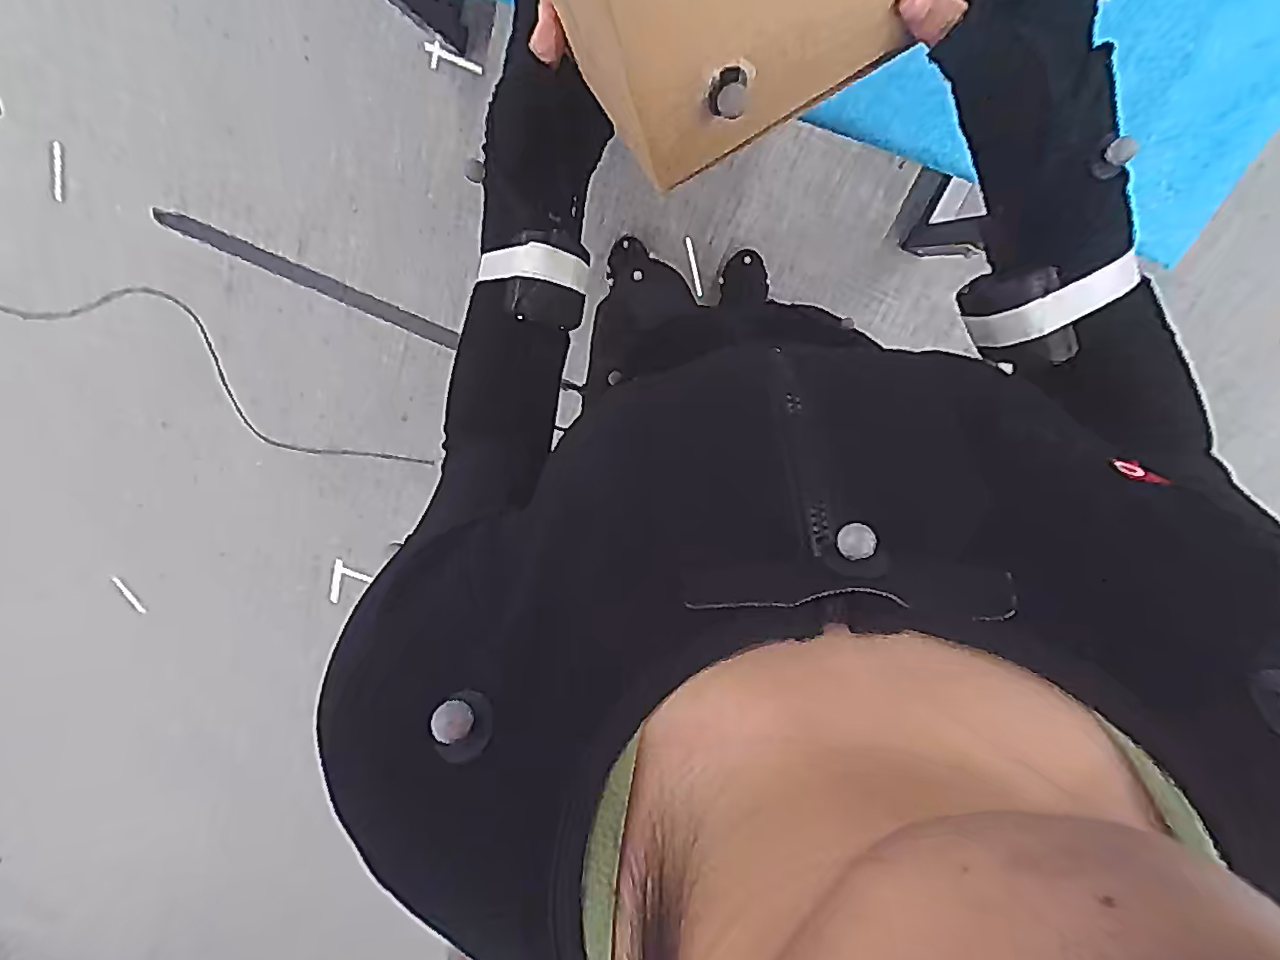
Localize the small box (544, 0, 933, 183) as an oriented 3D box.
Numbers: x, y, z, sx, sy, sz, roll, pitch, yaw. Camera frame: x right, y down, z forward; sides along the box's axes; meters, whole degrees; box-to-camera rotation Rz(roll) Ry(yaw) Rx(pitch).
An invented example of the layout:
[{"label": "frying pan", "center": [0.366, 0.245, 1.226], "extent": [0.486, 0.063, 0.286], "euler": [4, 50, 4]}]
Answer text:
[{"label": "small box", "center": [0.030, -0.297, 0.254], "extent": [0.179, 0.176, 0.168], "euler": [-29, 71, 6]}]
